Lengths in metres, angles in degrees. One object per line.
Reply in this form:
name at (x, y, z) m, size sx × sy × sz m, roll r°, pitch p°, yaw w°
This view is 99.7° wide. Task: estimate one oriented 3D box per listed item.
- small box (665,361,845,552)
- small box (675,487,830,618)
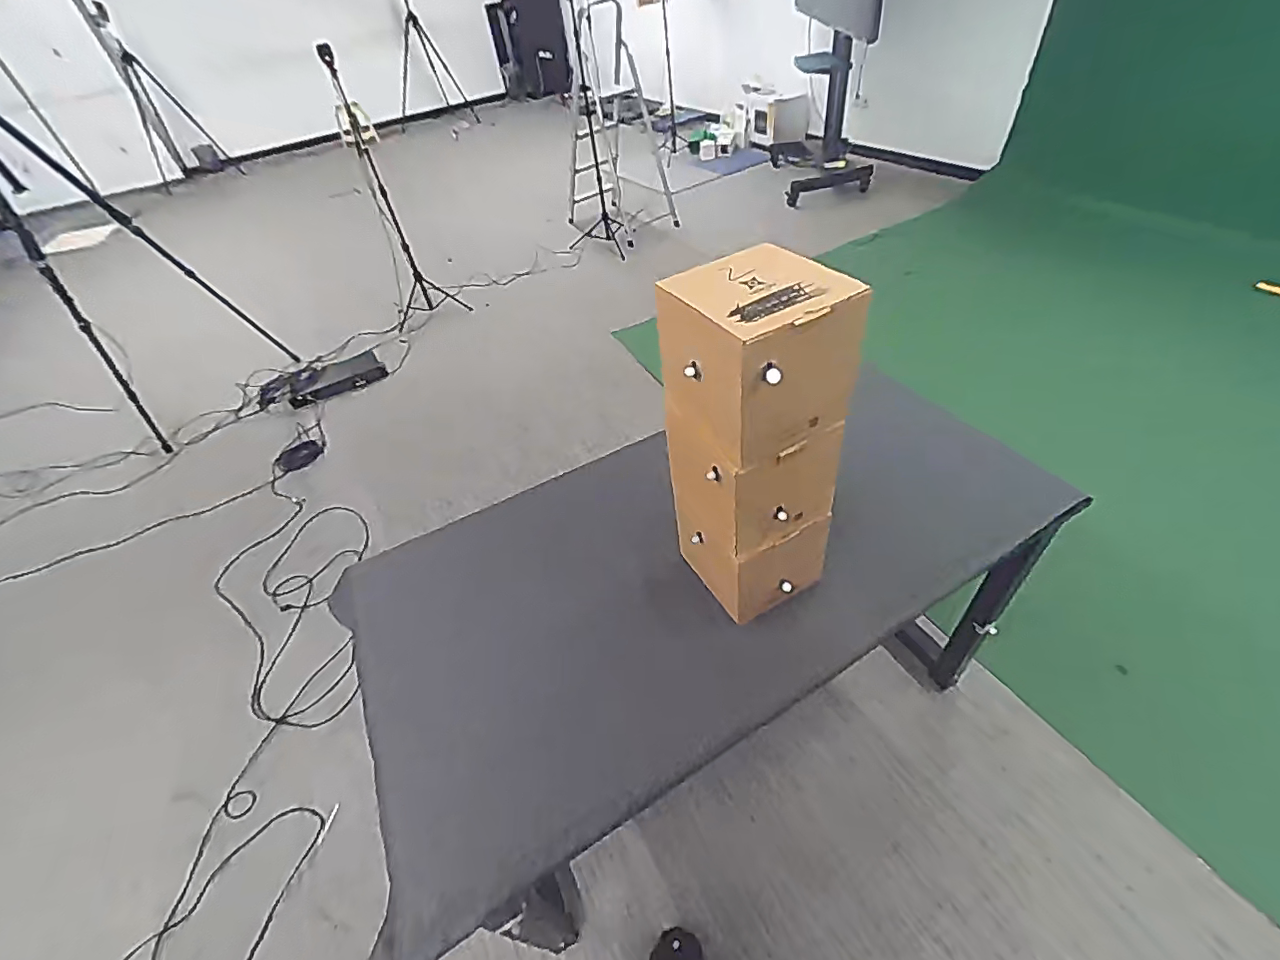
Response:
small box at (0.150, -0.033, 0.754) m, size 0.168 × 0.176 × 0.179 m, roll -25°, pitch 47°, yaw -16°
small box at (0.171, 0.084, 0.863) m, size 0.168 × 0.176 × 0.179 m, roll -25°, pitch 47°, yaw -15°
